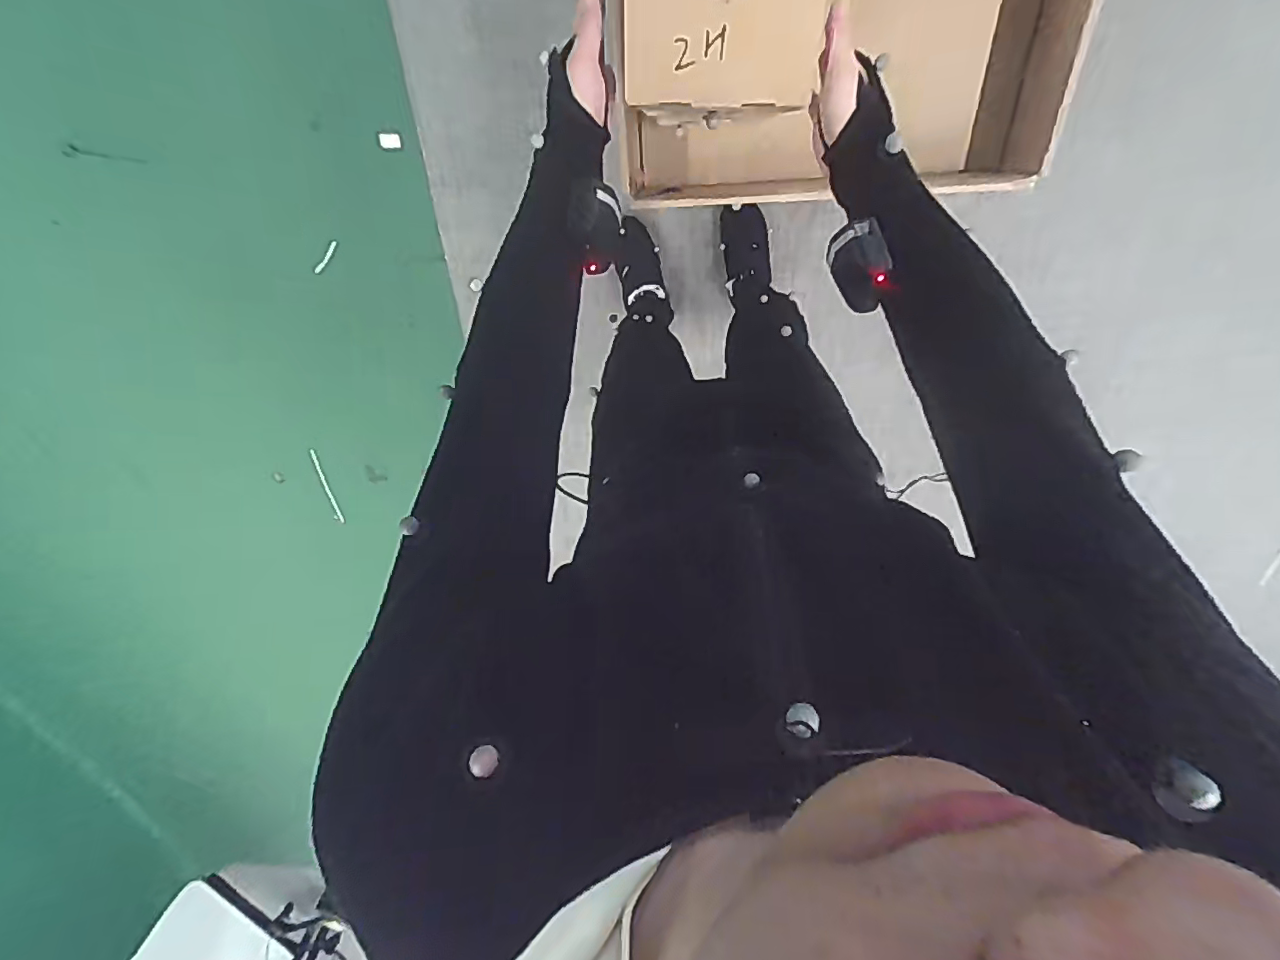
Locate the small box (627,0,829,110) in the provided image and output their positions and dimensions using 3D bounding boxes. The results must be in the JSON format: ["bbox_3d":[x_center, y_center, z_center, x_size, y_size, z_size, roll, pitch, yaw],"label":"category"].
[{"bbox_3d":[0.081,-0.452,0.496,0.168,0.176,0.179,5,123,5],"label":"small box"}]
